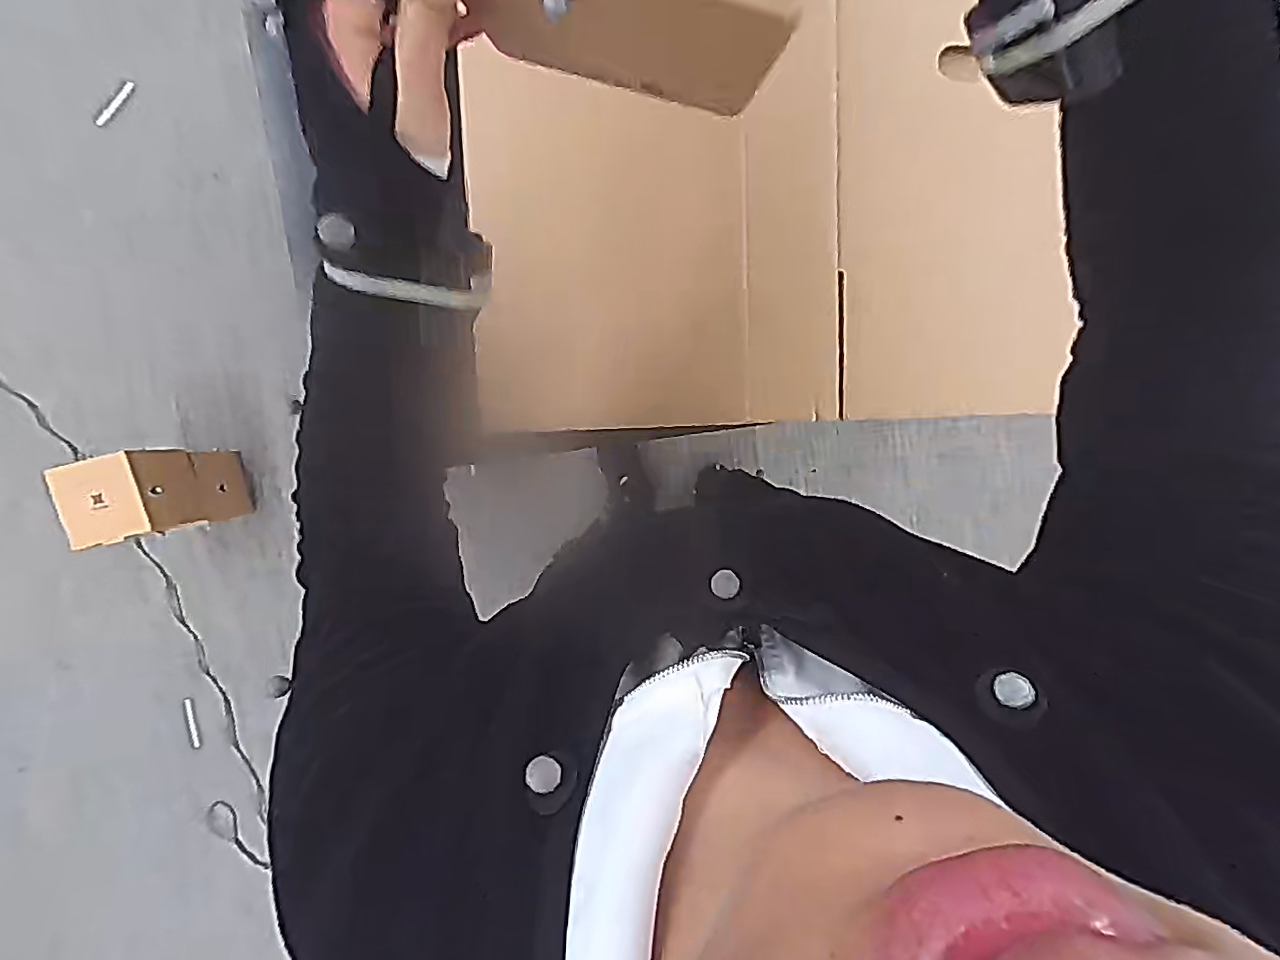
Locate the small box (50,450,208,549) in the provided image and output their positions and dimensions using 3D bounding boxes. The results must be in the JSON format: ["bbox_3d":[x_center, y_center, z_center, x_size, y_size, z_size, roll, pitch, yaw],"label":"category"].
[{"bbox_3d":[-1.108,0.036,1.191,0.168,0.176,0.179,-15,94,-3],"label":"small box"}]

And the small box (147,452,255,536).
[{"bbox_3d":[-1.114,0.029,1.353,0.168,0.176,0.179,-12,96,-2],"label":"small box"}]
